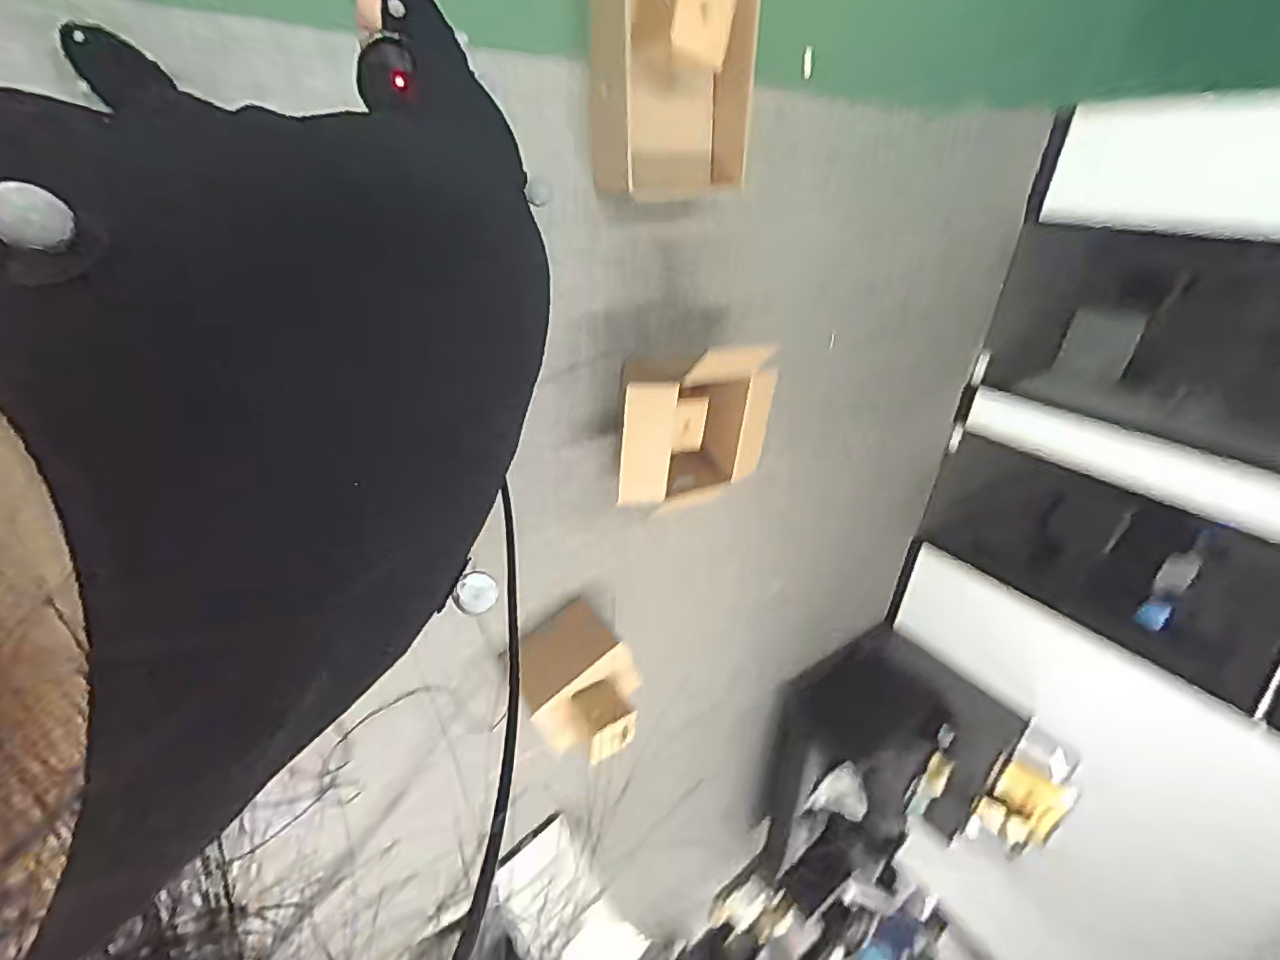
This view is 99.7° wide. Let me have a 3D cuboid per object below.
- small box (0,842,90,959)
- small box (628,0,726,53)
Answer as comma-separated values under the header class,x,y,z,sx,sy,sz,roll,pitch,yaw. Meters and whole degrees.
class,x,y,z,sx,sy,sz,roll,pitch,yaw
small box,-0.821,0.591,0.644,0.179,0.176,0.168,-24,129,-27
small box,0.090,-1.150,1.285,0.168,0.176,0.179,-9,122,-37
